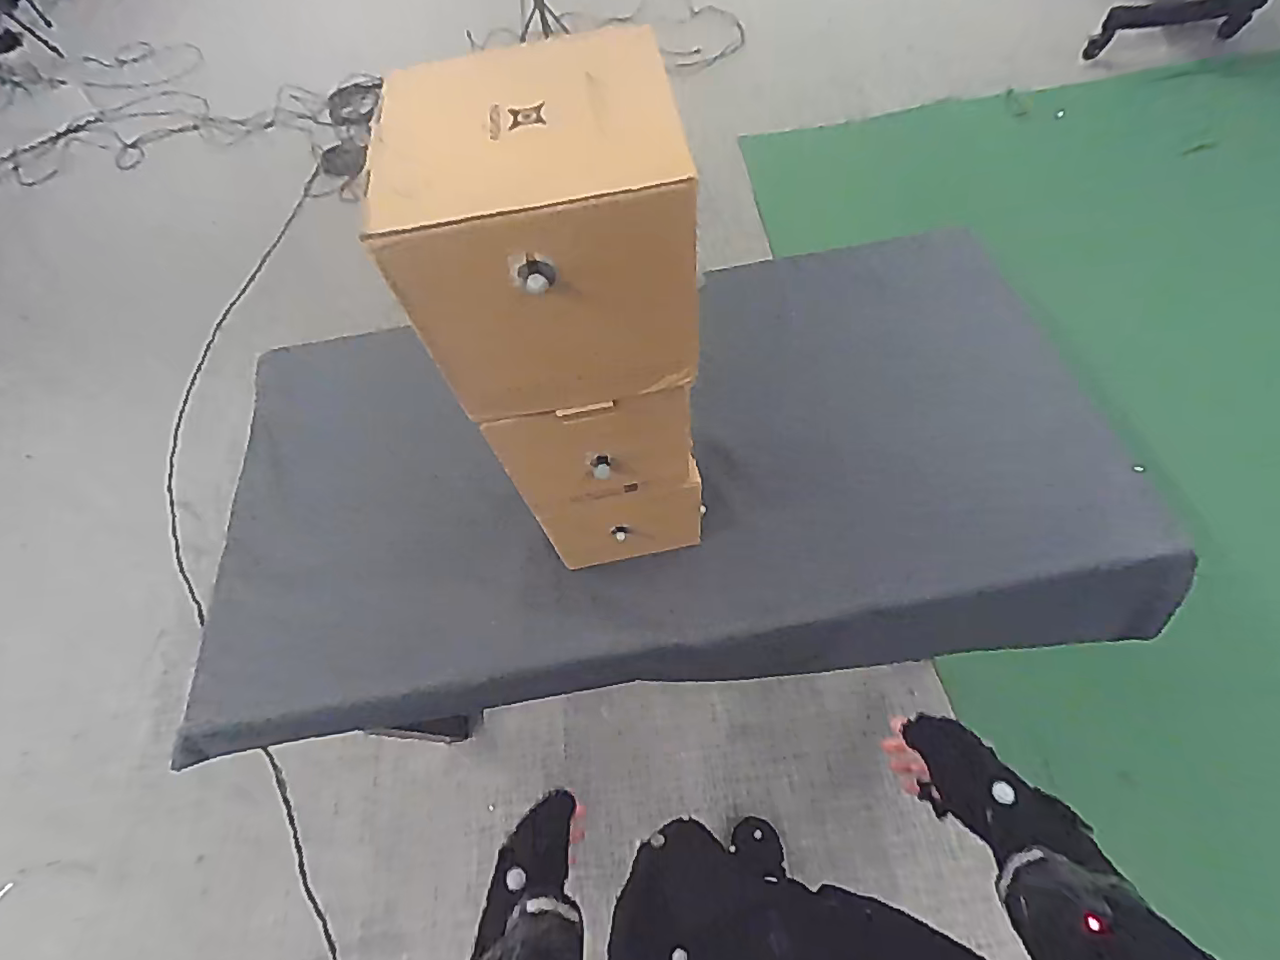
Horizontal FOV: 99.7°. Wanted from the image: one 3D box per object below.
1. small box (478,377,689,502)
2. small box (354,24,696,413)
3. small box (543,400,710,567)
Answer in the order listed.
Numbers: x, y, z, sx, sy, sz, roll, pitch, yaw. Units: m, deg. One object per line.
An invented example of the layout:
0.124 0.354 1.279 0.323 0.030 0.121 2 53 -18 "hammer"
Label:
-0.049 -0.091 0.519 0.168 0.176 0.179 -12 62 0 "small box"
-0.060 -0.164 0.374 0.179 0.176 0.168 -9 62 0 "small box"
-0.024 -0.011 0.659 0.179 0.176 0.168 -14 61 -3 "small box"
